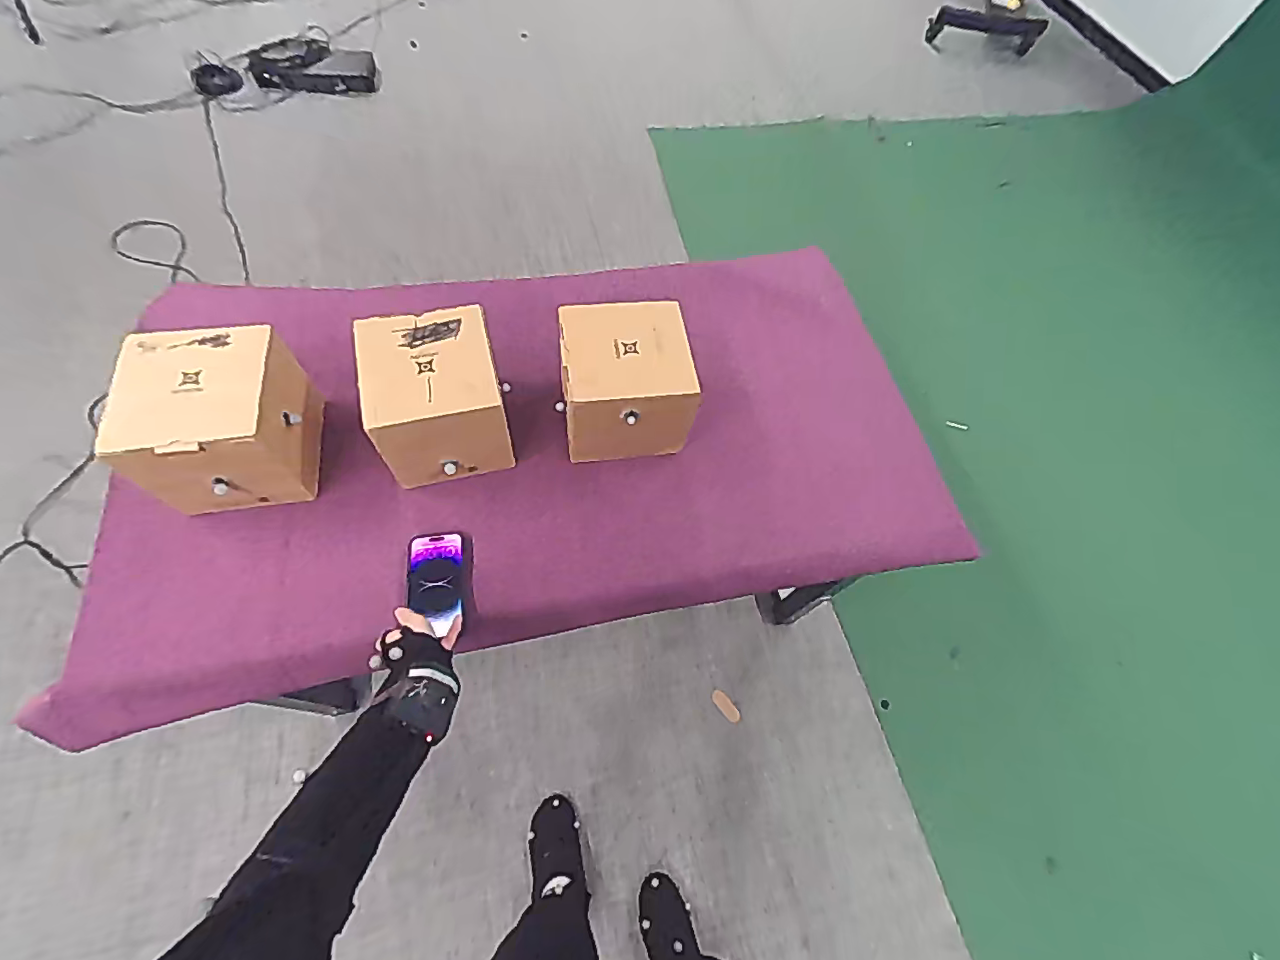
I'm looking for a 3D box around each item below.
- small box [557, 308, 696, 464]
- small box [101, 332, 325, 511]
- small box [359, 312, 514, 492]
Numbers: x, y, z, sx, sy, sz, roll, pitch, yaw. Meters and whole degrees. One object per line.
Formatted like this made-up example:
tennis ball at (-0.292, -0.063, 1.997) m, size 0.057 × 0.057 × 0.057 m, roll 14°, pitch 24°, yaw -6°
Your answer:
small box at (-0.027, -0.134, 0.810) m, size 0.179 × 0.176 × 0.168 m, roll -5°, pitch 63°, yaw -9°
small box at (-0.543, -0.068, 0.720) m, size 0.168 × 0.176 × 0.179 m, roll -7°, pitch 64°, yaw -10°
small box at (-0.282, -0.106, 0.768) m, size 0.168 × 0.176 × 0.179 m, roll -12°, pitch 65°, yaw -12°
